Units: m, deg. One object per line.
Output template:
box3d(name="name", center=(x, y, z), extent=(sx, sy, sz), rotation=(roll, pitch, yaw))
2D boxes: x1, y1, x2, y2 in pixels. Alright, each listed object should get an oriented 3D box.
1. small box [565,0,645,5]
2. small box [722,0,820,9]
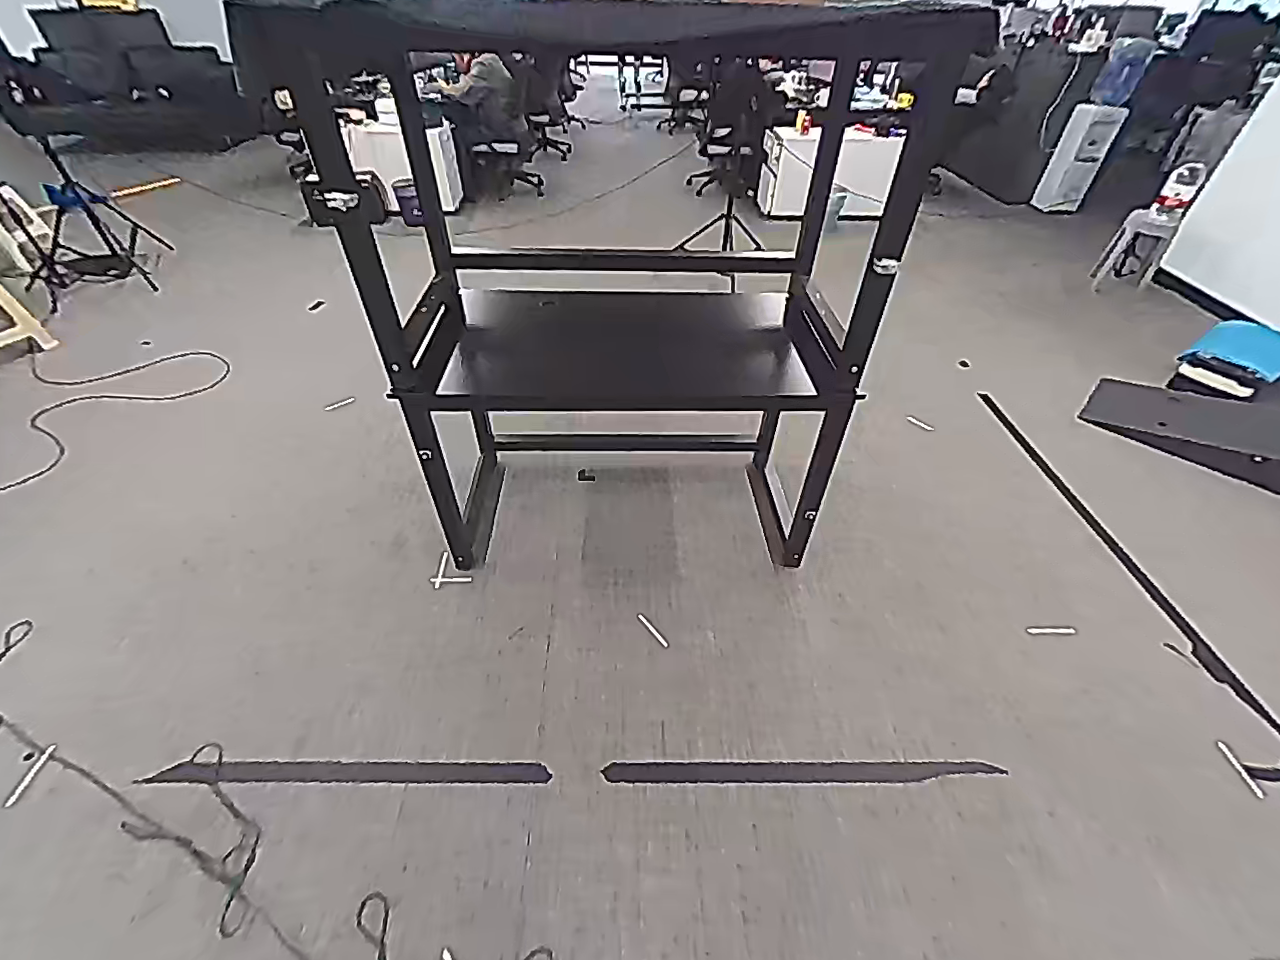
box3d(name="small box", center=(-0.068, -0.909, 0.900), extent=(0.168, 0.176, 0.179), rotation=(1, 41, 0))
box3d(name="small box", center=(0.231, -0.911, 0.911), extent=(0.168, 0.176, 0.179), rotation=(3, 41, 2))
